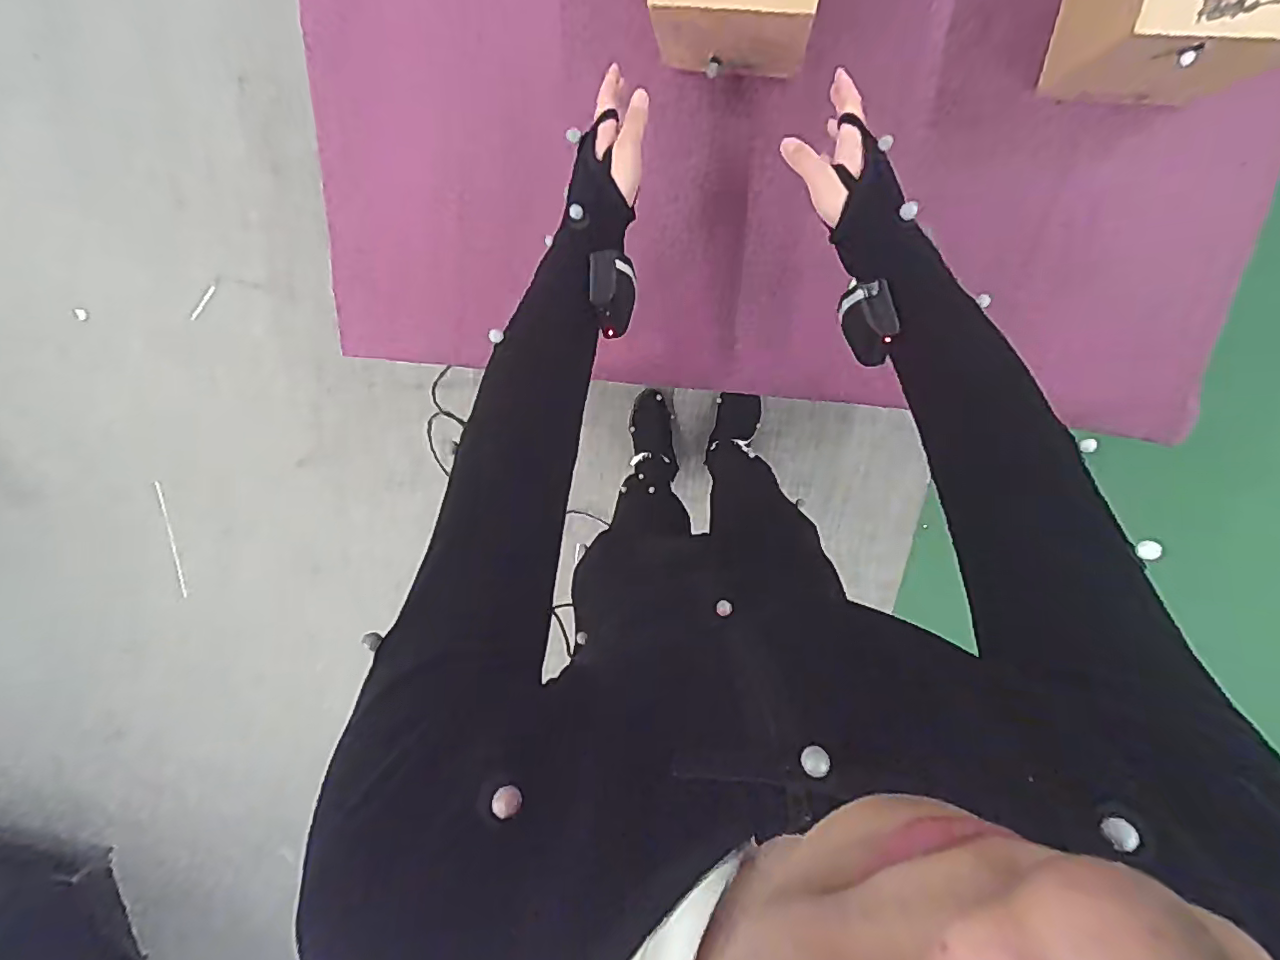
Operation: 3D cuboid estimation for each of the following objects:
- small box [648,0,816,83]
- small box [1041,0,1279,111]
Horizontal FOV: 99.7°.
[{"bbox_3d":[0.107,-0.558,0.570,0.168,0.176,0.179,10,110,6],"label":"small box"},{"bbox_3d":[0.536,-0.492,0.523,0.168,0.176,0.179,8,109,7],"label":"small box"}]
